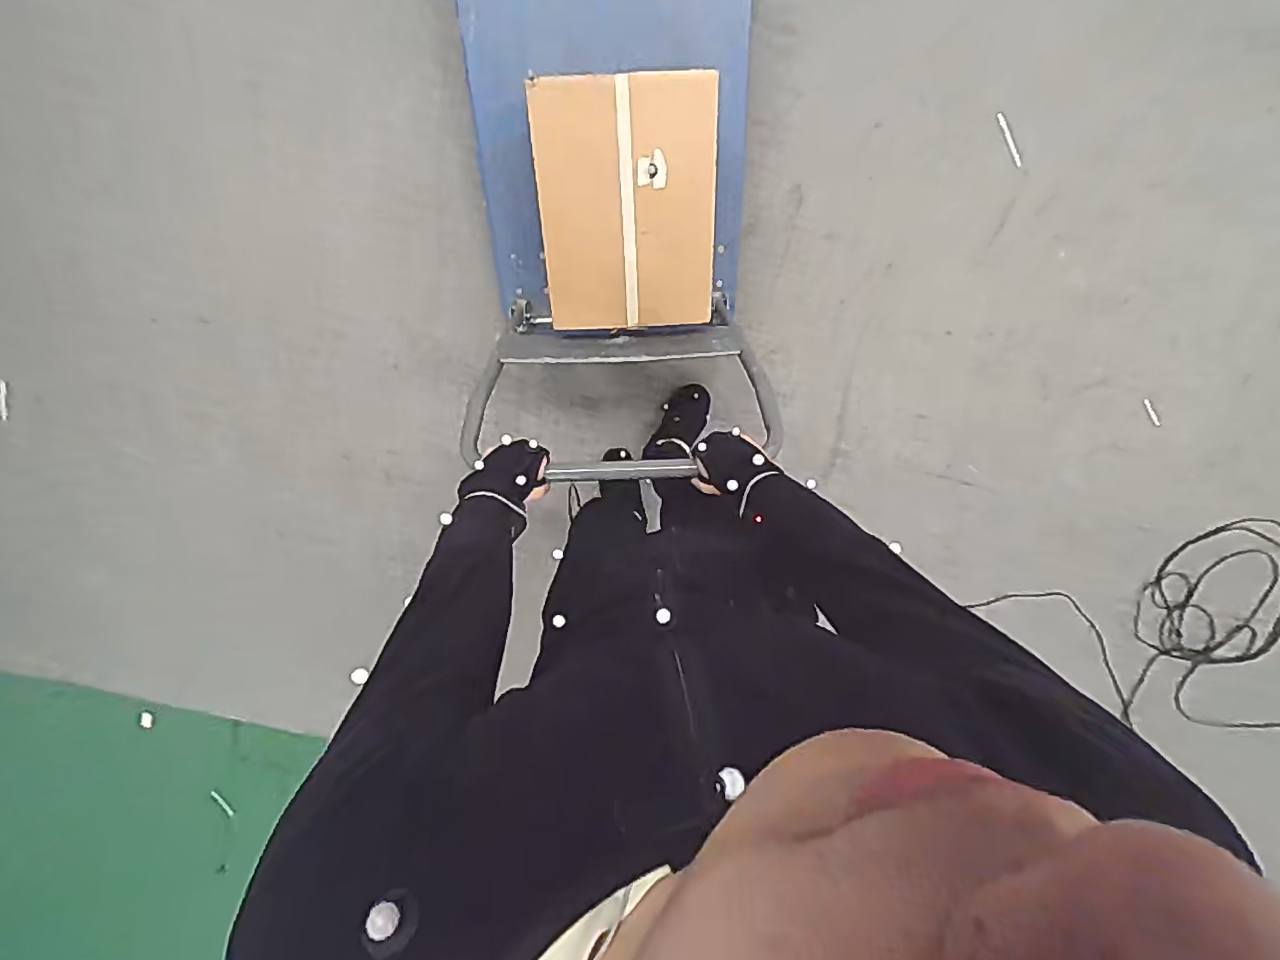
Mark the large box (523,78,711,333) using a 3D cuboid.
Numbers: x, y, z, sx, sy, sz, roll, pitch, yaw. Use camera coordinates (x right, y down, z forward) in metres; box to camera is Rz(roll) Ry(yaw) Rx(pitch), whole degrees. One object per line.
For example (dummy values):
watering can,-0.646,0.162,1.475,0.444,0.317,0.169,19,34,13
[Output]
large box,-0.031,-0.542,1.102,0.320,0.320,0.408,-3,119,-1
